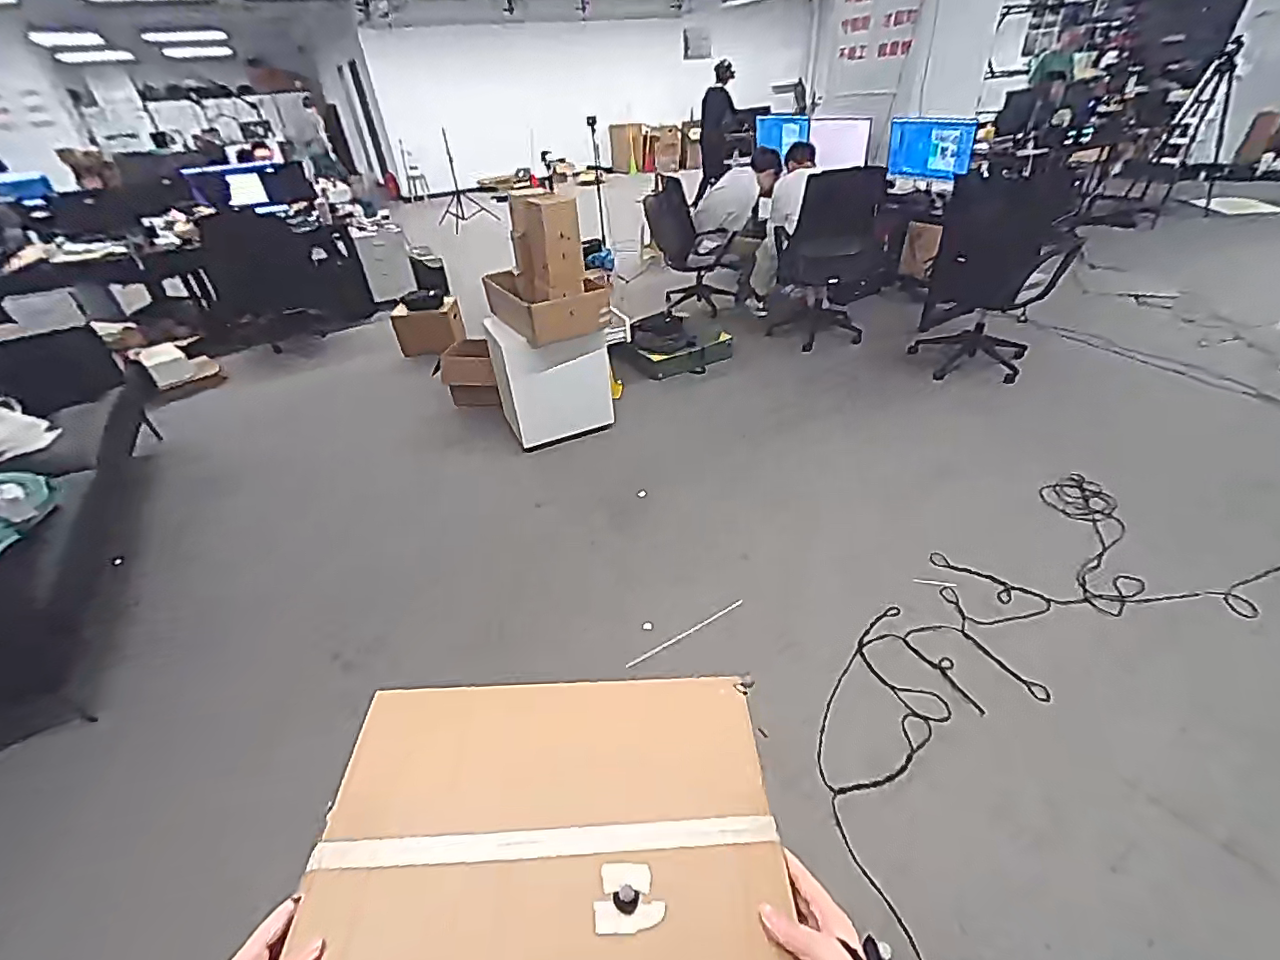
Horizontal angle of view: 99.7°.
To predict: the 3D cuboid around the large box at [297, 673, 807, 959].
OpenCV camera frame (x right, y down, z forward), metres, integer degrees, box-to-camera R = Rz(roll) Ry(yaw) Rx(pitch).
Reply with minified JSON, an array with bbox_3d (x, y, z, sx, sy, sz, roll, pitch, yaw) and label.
[{"bbox_3d":[-0.079,0.439,0.581,0.408,0.320,0.320,-1,38,-4],"label":"large box"}]
